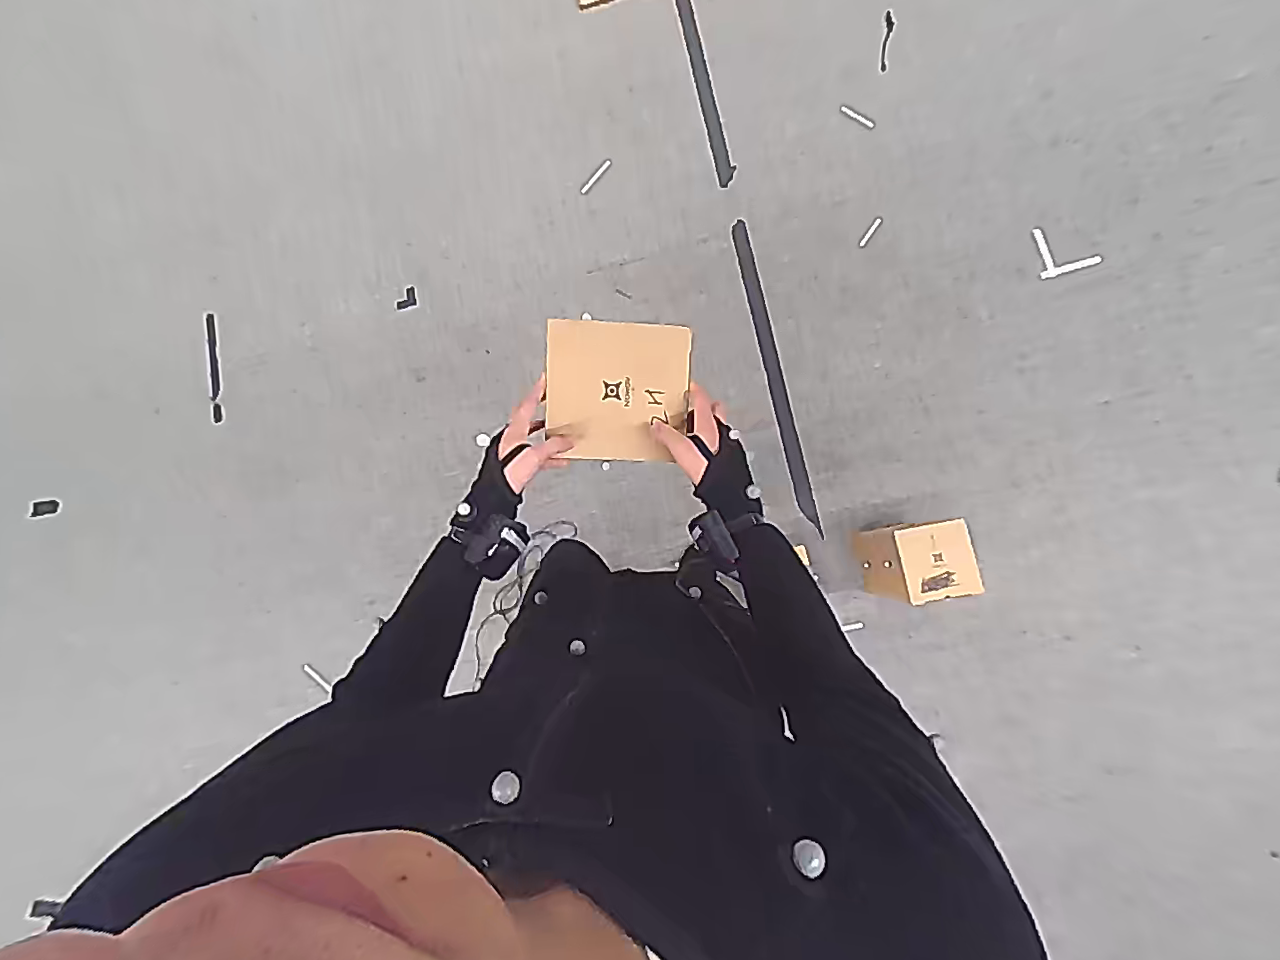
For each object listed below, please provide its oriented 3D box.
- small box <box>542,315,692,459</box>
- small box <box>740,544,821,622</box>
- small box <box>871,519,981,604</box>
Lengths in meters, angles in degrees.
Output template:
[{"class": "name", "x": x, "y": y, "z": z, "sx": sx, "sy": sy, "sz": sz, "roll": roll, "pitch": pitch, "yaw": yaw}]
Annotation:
[{"class": "small box", "x": -0.034, "y": -0.115, "z": 0.726, "sx": 0.179, "sy": 0.176, "sz": 0.168, "roll": 2, "pitch": 95, "yaw": -6}, {"class": "small box", "x": 0.385, "y": 0.284, "z": 1.516, "sx": 0.168, "sy": 0.176, "sz": 0.179, "roll": -15, "pitch": 82, "yaw": 4}, {"class": "small box", "x": 0.690, "y": 0.197, "z": 1.325, "sx": 0.168, "sy": 0.176, "sz": 0.179, "roll": -11, "pitch": 81, "yaw": 4}]
